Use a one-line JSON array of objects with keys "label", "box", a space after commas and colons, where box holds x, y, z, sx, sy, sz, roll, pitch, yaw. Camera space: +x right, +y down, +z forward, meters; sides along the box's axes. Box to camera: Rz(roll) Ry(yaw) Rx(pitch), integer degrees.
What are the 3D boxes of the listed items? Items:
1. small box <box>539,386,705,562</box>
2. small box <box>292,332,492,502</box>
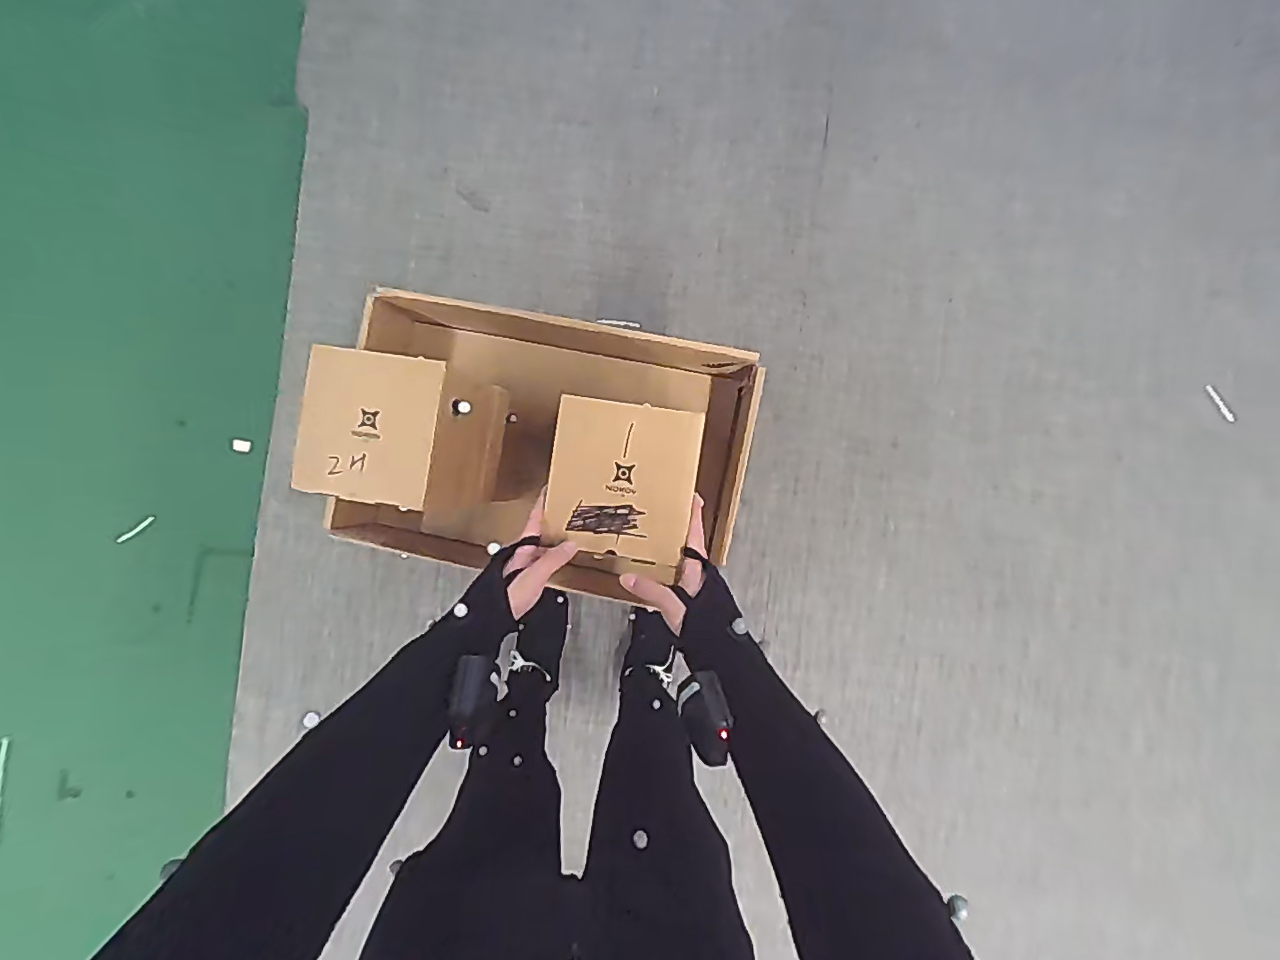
[{"label": "small box", "box": [-0.016, -0.007, 0.681, 0.168, 0.176, 0.179, 9, 90, 3]}, {"label": "small box", "box": [-0.305, -0.073, 0.702, 0.168, 0.176, 0.179, 10, 91, 5]}]
